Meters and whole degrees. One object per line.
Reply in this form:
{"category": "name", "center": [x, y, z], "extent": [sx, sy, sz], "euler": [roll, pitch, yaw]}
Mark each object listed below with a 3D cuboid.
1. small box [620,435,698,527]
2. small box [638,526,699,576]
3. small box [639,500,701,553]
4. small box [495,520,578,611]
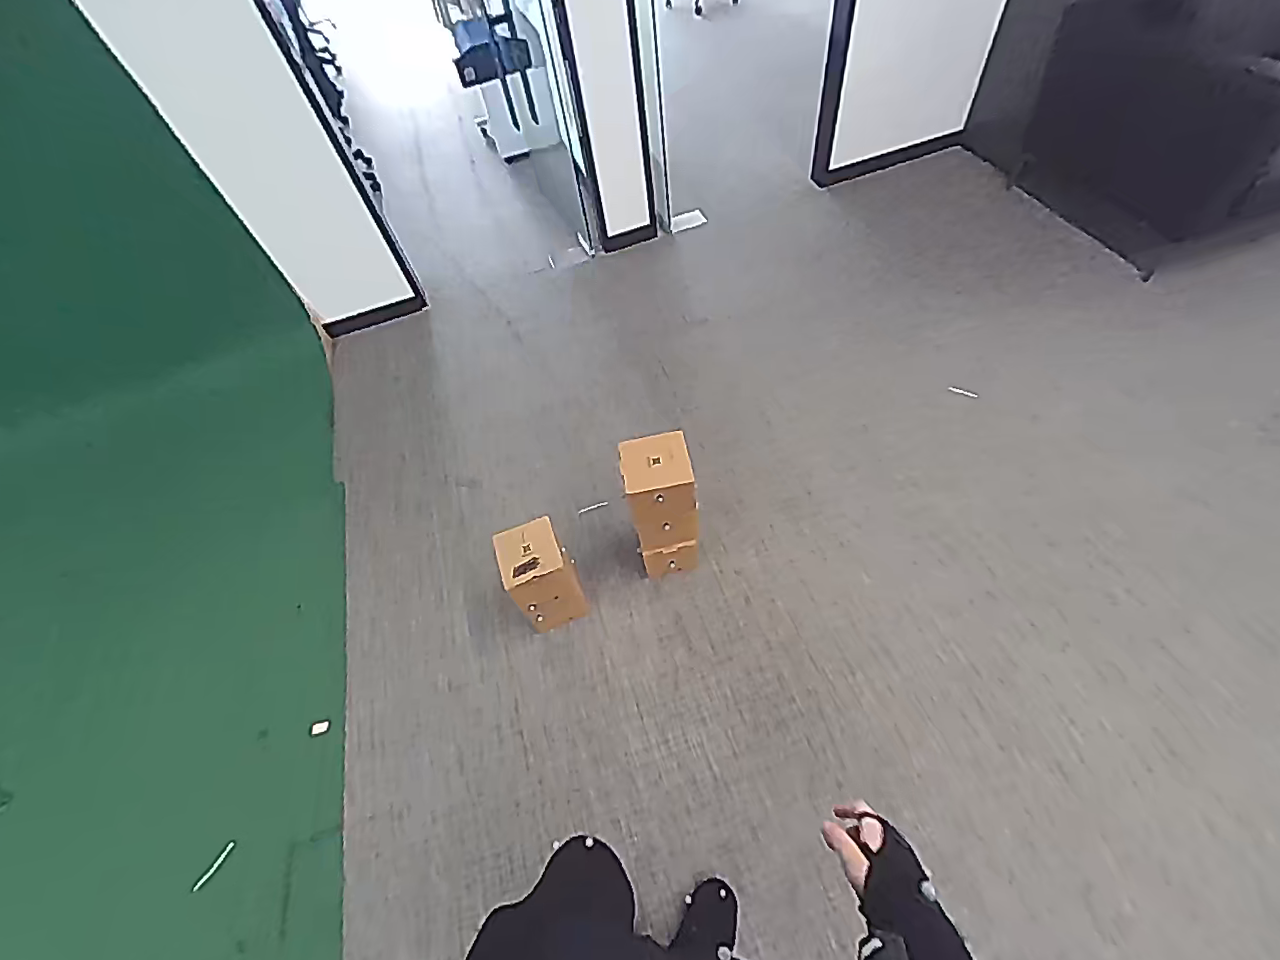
{"category": "small box", "center": [0.053, 0.007, 1.429], "extent": [0.179, 0.176, 0.168], "euler": [-11, 56, 2]}
{"category": "small box", "center": [0.088, 0.189, 1.696], "extent": [0.168, 0.176, 0.179], "euler": [-12, 56, -1]}
{"category": "small box", "center": [0.075, 0.089, 1.568], "extent": [0.179, 0.176, 0.168], "euler": [-14, 55, 0]}
{"category": "small box", "center": [-0.285, 0.246, 1.514], "extent": [0.168, 0.176, 0.179], "euler": [-21, 54, -6]}
